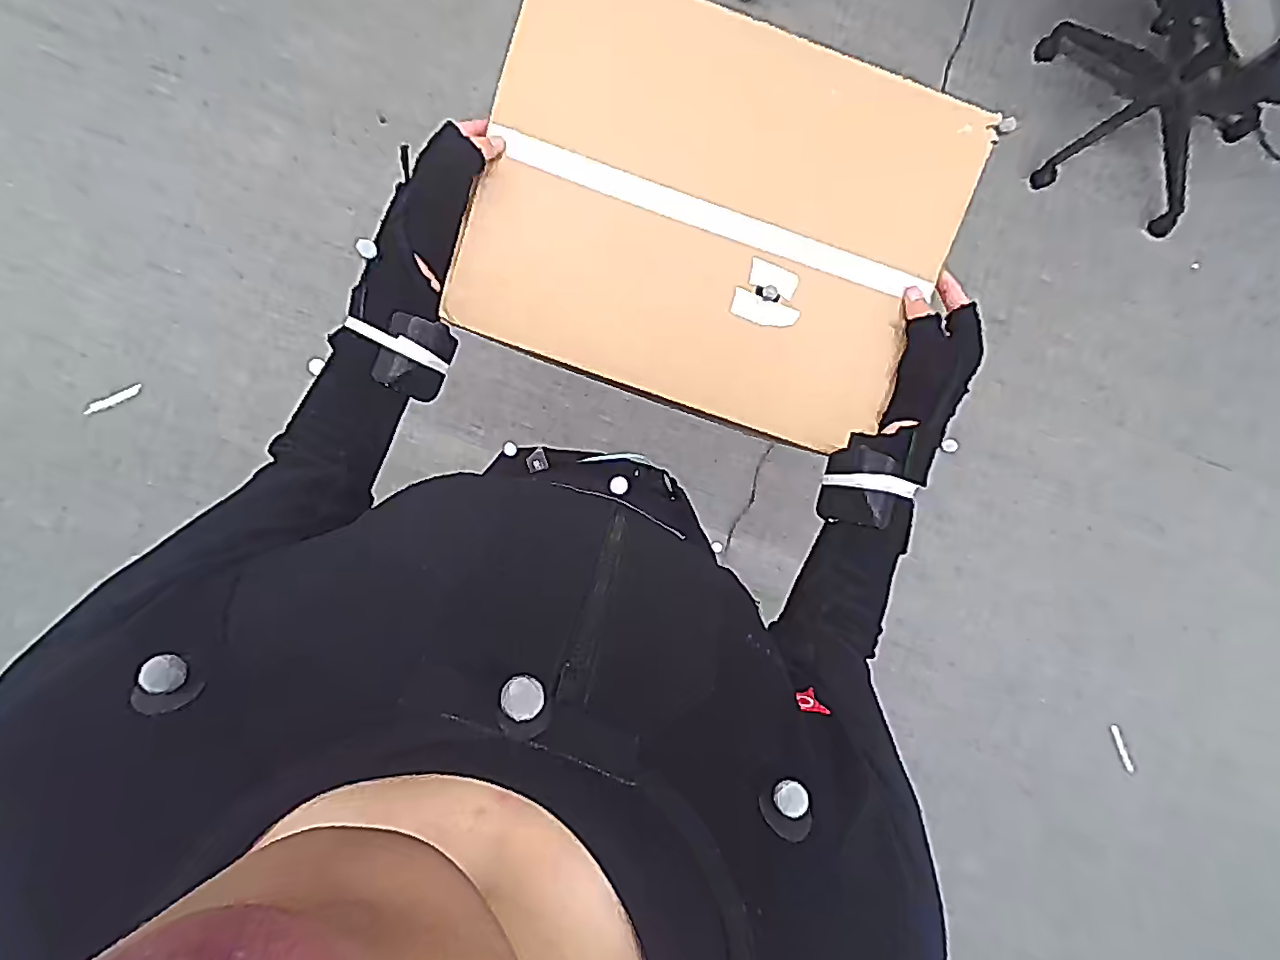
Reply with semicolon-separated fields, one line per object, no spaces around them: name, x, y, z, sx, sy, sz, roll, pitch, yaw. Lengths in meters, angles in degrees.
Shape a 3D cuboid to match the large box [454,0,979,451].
large box;0.059;-0.248;0.625;0.408;0.320;0.320;19;98;-4
